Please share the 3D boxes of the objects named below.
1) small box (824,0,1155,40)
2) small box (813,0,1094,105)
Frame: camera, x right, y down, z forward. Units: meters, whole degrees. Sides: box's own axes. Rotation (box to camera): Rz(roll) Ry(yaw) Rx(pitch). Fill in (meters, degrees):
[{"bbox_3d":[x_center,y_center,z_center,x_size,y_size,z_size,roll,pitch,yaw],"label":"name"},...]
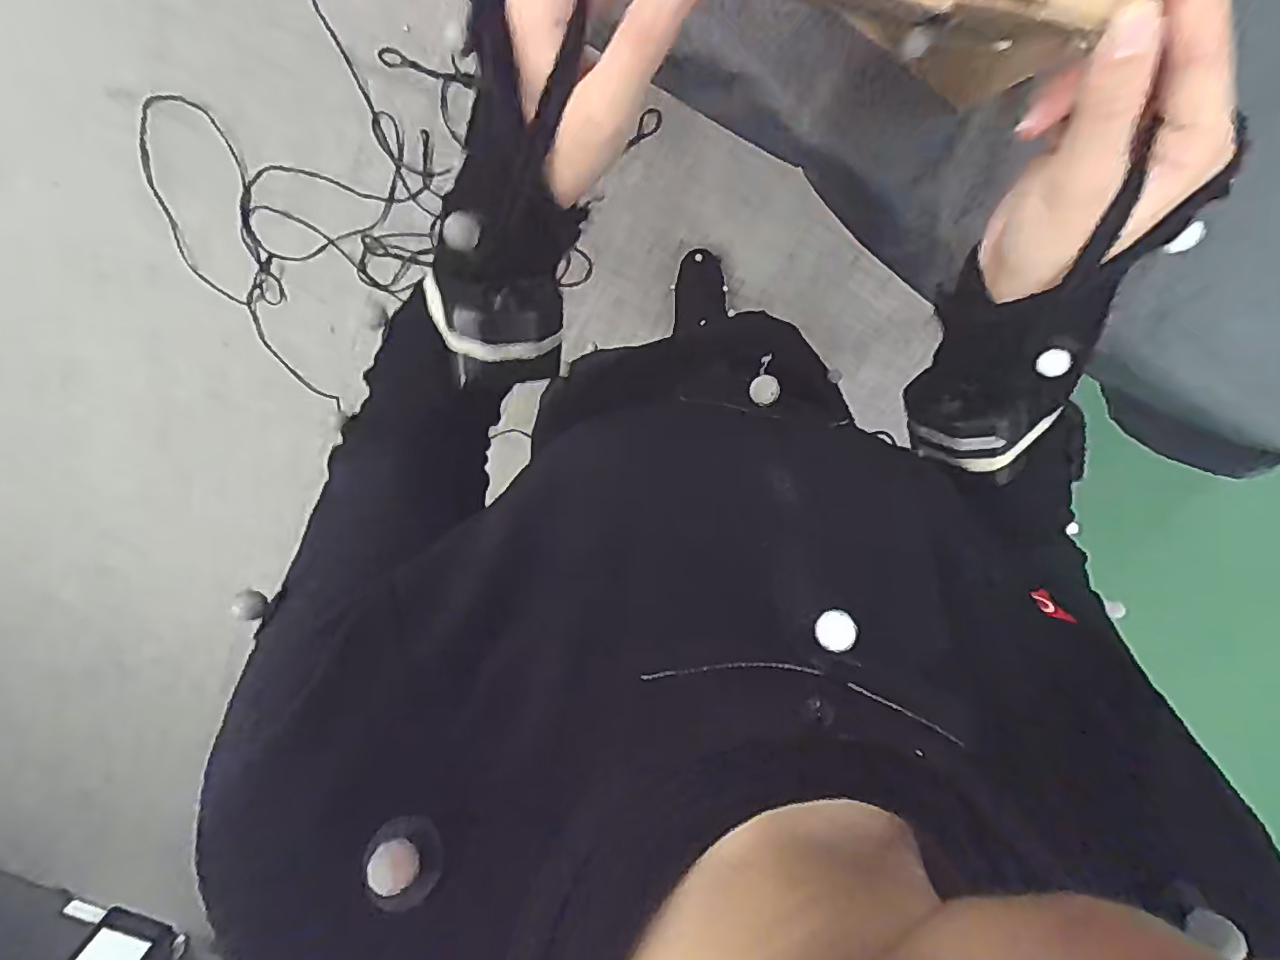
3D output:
[{"bbox_3d":[0.117,-0.282,0.189,0.168,0.176,0.179,14,128,-2],"label":"small box"},{"bbox_3d":[0.239,-0.390,0.357,0.179,0.176,0.168,30,112,-9],"label":"small box"}]
